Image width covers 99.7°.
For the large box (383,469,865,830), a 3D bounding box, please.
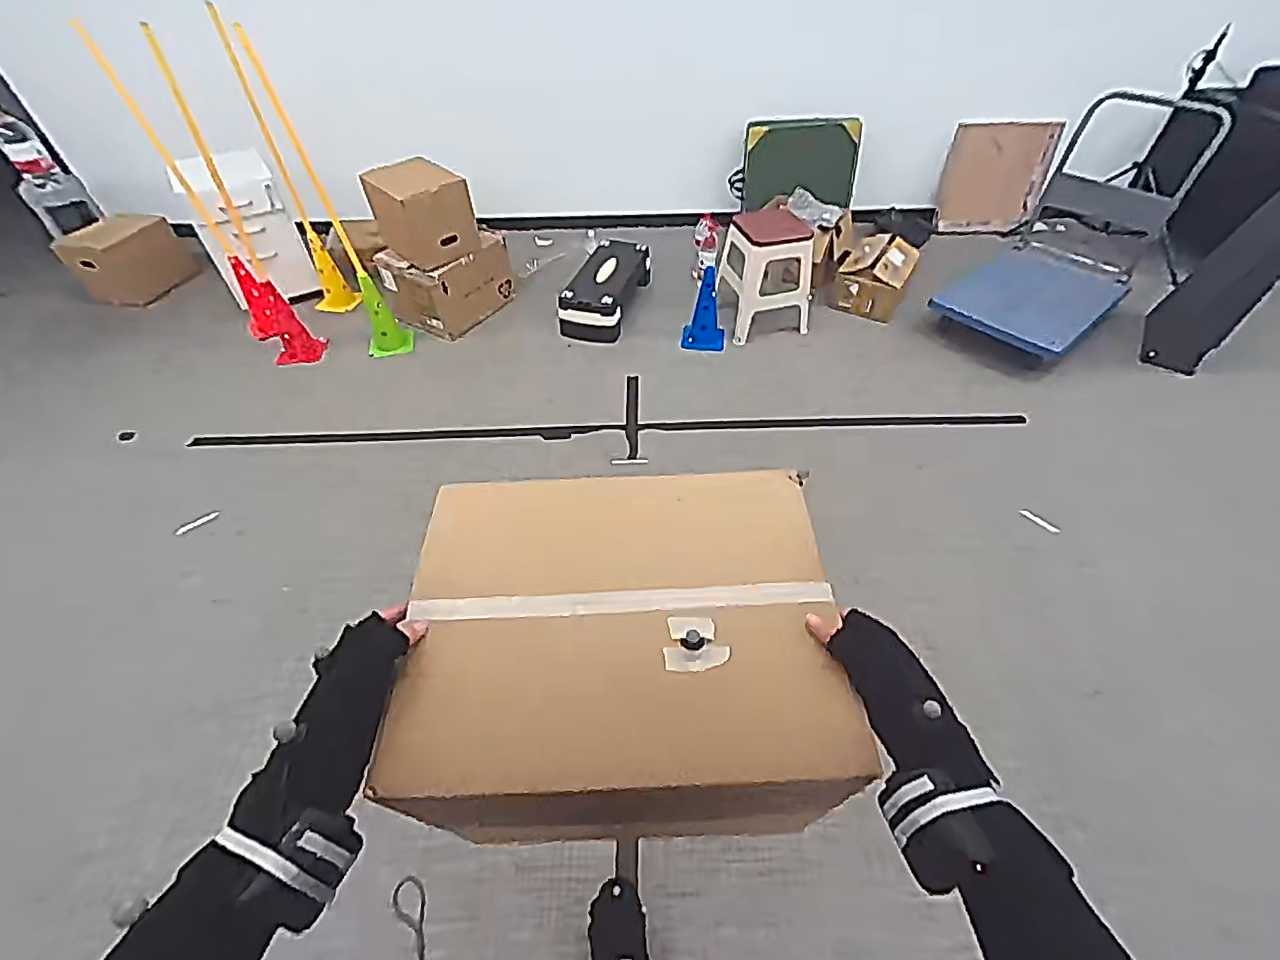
[{"bbox_3d":[-0.015,0.208,0.646,0.408,0.320,0.320,-2,51,0],"label":"large box"}]
